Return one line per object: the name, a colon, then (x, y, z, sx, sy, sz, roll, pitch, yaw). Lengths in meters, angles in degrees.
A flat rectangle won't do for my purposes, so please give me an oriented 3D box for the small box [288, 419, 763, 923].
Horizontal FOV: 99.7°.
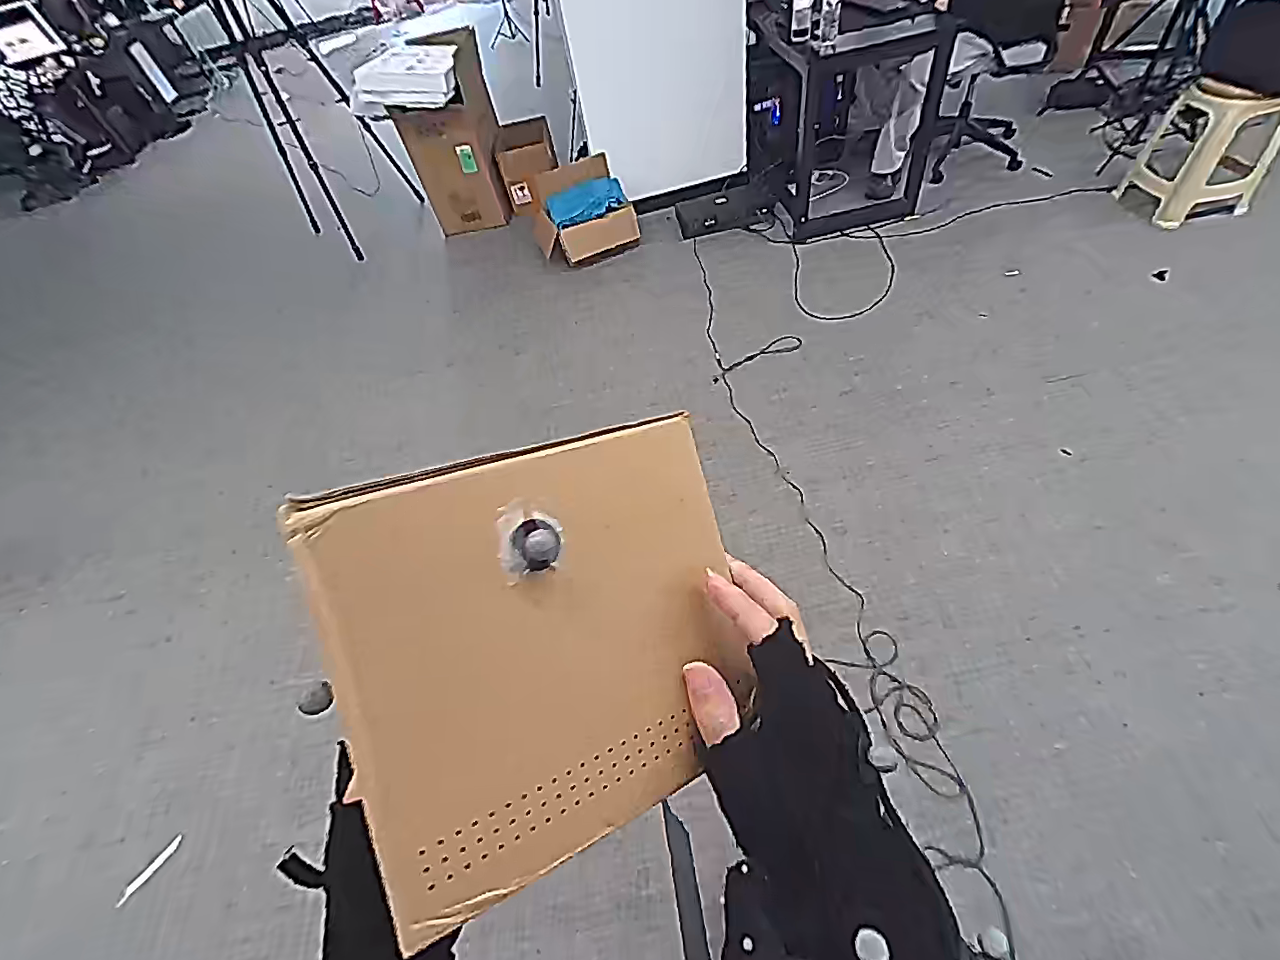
small box: (-0.061, 0.080, 0.301, 0.179, 0.168, 0.176, -16, 91, -25)
